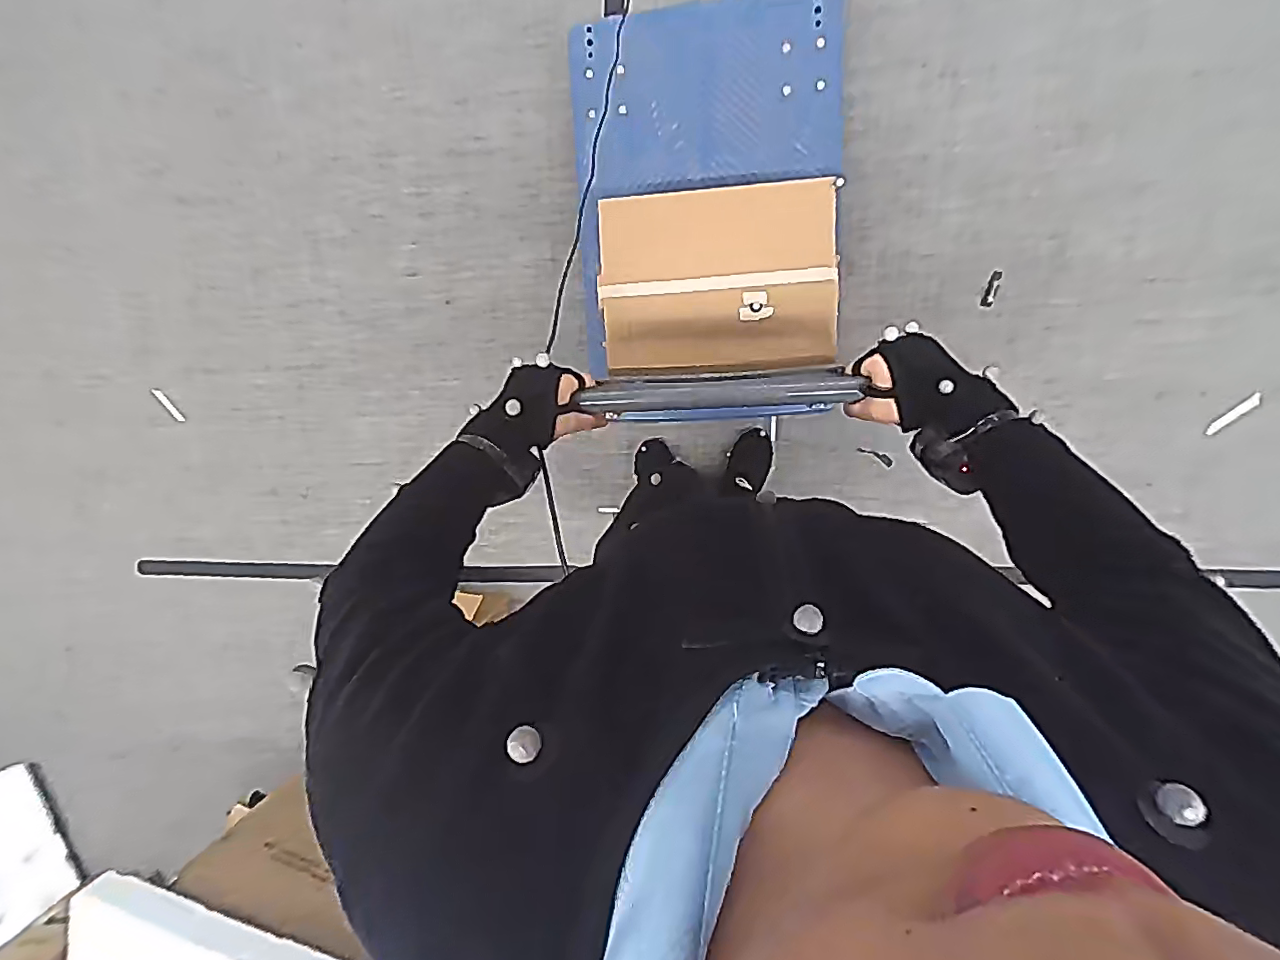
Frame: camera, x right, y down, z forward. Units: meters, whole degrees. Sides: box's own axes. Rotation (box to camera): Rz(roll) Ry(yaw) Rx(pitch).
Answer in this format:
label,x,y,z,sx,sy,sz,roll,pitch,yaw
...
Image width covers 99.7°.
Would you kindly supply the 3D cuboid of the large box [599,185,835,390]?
label,x,y,z,sx,sy,sz,roll,pitch,yaw
large box,0.148,-0.353,1.089,0.408,0.320,0.320,-2,98,6
